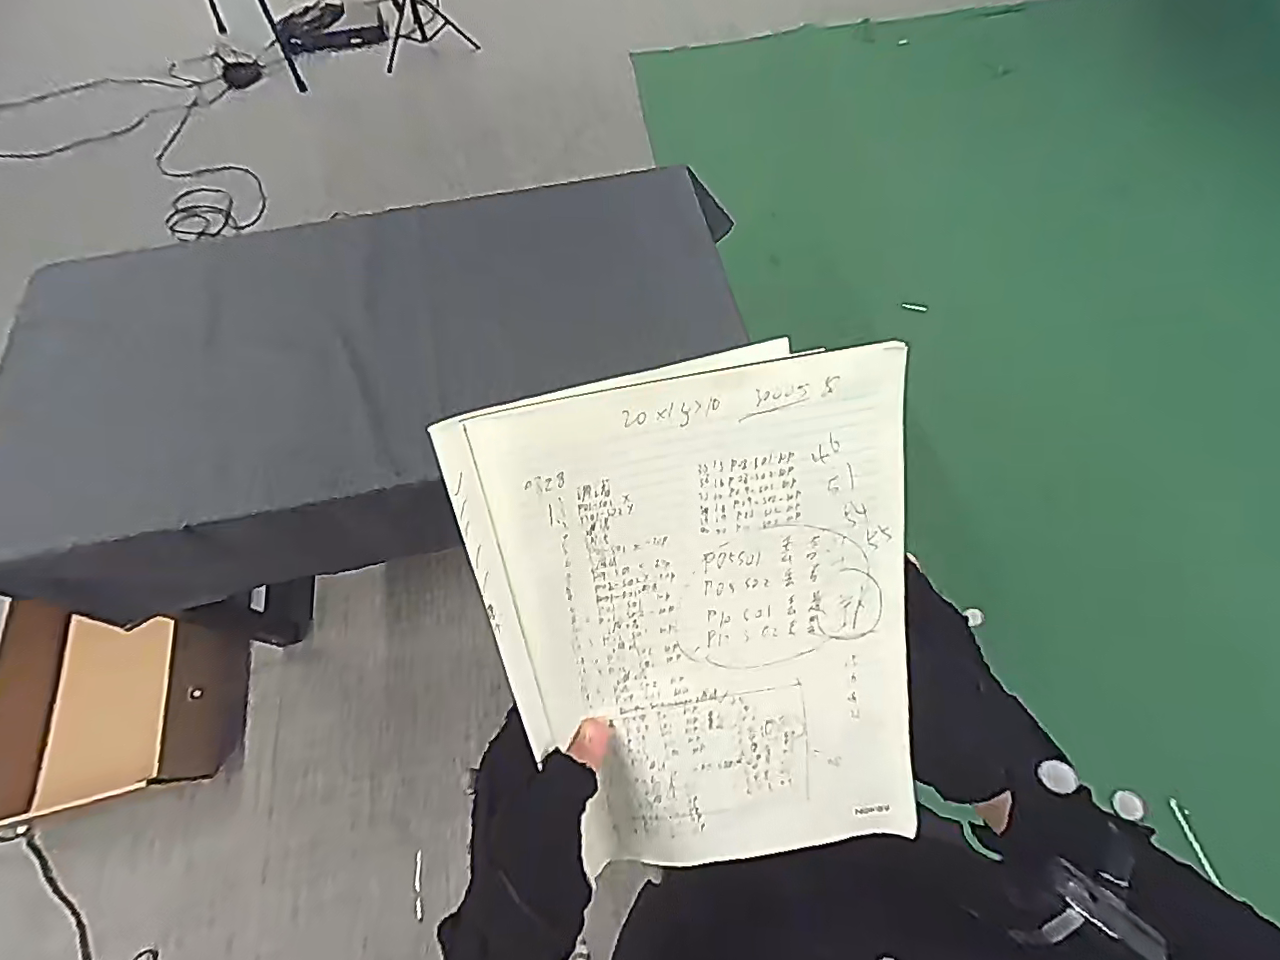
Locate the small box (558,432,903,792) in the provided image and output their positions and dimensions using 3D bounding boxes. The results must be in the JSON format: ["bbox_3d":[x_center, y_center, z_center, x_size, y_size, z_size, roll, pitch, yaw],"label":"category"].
[{"bbox_3d":[0.052,0.088,0.401,0.168,0.176,0.179,-18,79,-1],"label":"small box"}]
